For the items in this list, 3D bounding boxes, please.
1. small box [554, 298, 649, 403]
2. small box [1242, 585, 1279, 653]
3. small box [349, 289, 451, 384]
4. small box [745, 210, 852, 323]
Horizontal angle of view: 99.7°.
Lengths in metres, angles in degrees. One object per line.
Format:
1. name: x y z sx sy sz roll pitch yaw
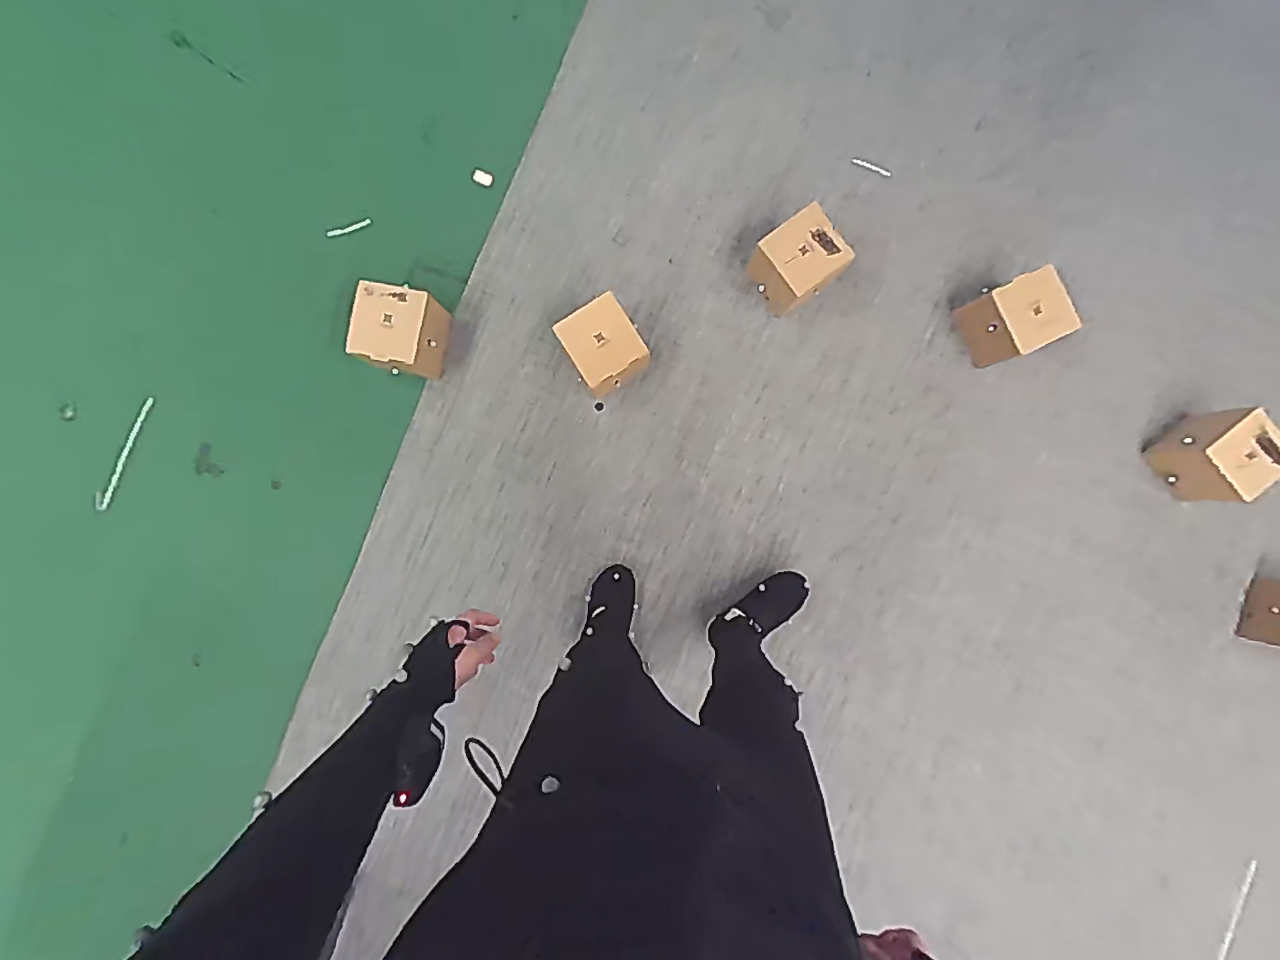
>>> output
1. small box: -0.094 -0.315 1.357 0.168 0.176 0.179 -33 90 -2
2. small box: 1.705 0.374 1.365 0.179 0.176 0.168 18 89 0
3. small box: -0.589 -0.349 1.348 0.168 0.176 0.179 11 88 -1
4. small box: 0.392 -0.532 1.370 0.179 0.176 0.168 -36 89 -1
